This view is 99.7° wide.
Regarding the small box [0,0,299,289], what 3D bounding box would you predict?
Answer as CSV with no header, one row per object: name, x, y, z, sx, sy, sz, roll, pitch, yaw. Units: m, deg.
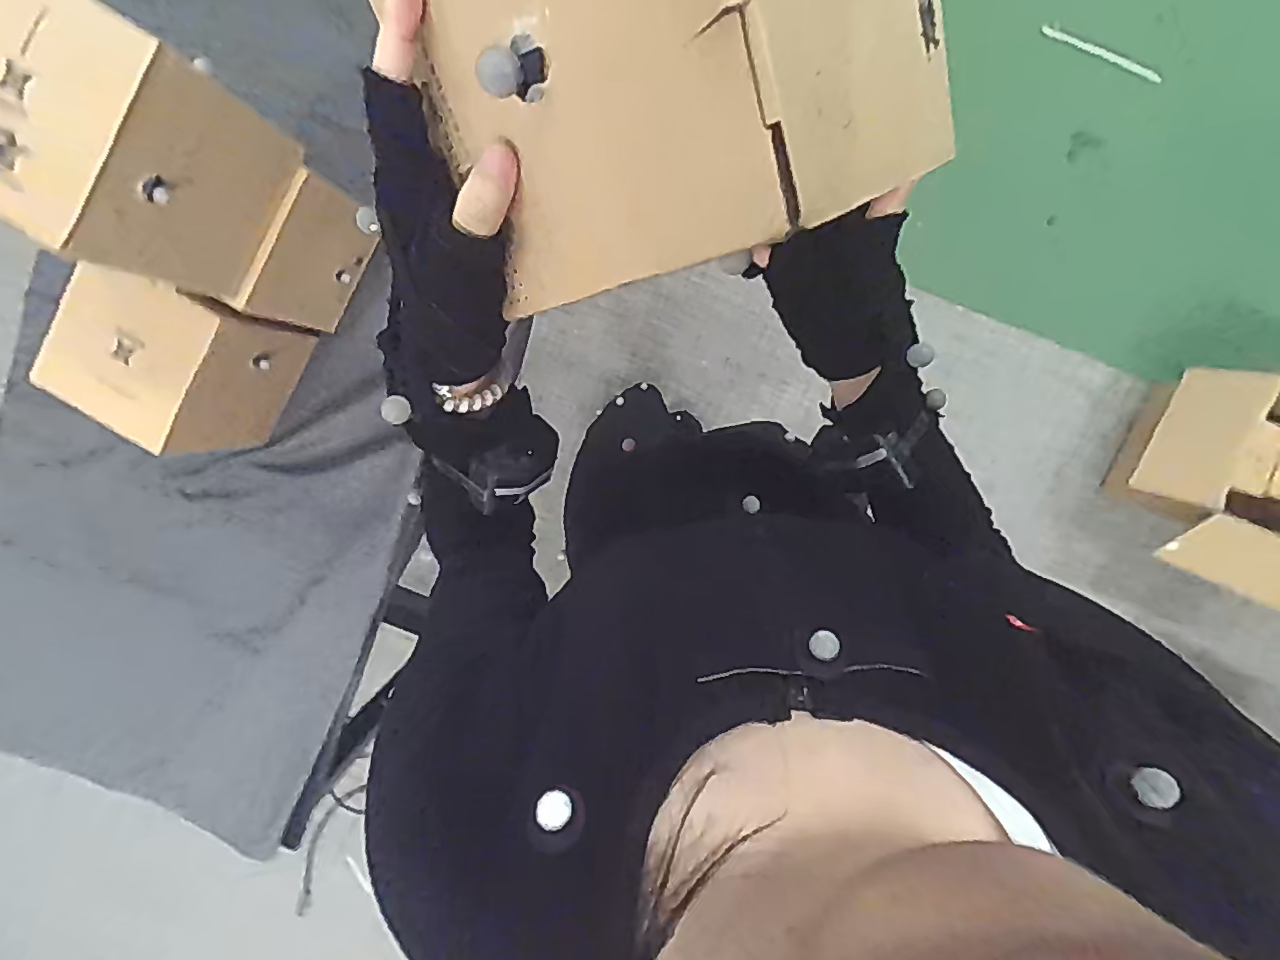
small box,-0.455,-0.299,0.485,0.168,0.176,0.179,31,98,-2
